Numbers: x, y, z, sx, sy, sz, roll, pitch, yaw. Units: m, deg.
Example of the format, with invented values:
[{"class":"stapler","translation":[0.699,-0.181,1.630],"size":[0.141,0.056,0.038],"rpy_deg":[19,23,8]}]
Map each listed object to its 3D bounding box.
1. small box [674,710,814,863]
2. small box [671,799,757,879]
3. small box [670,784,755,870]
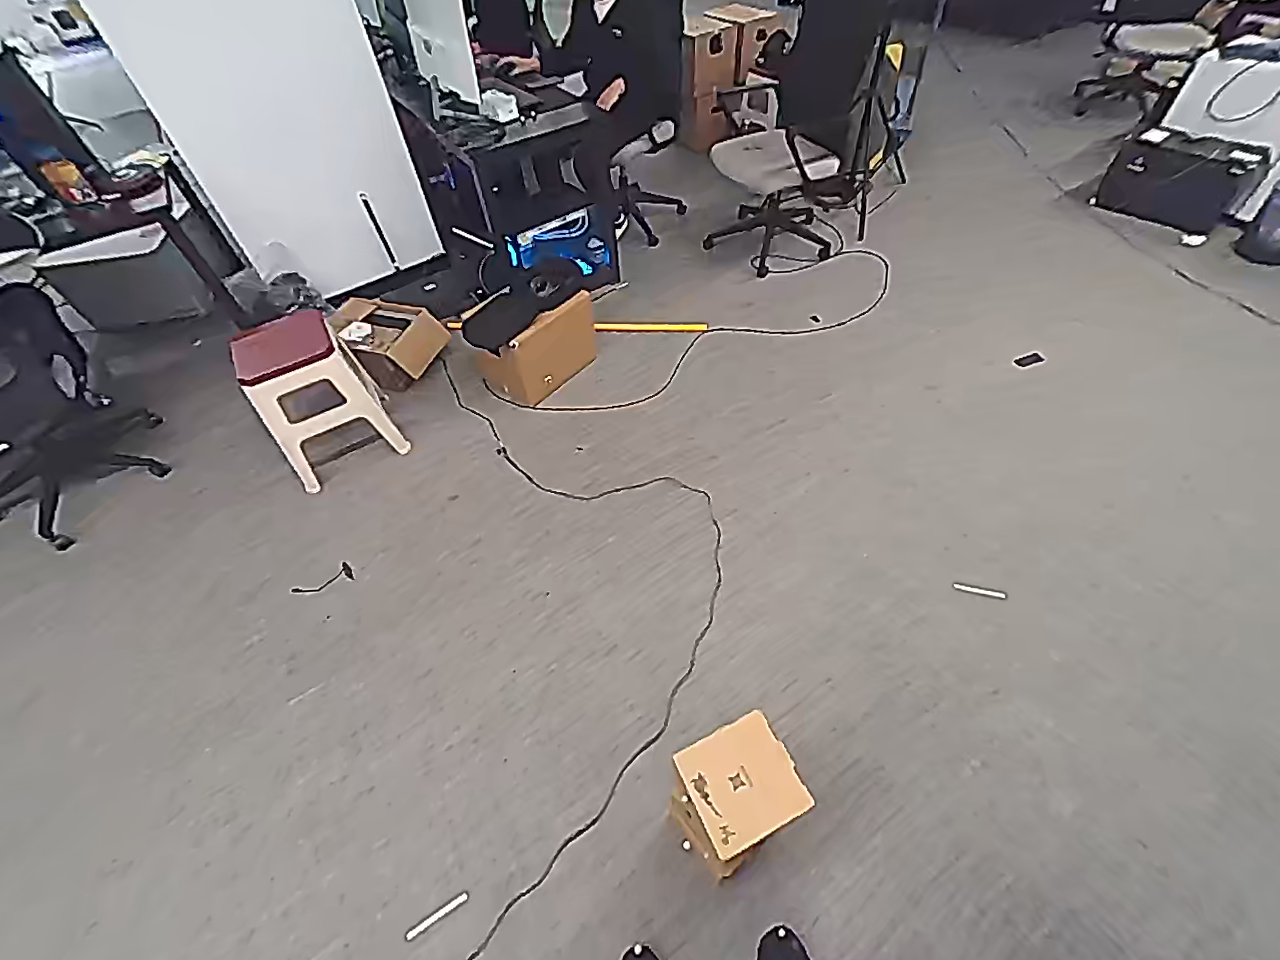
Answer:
[{"class":"small box","translation":[0.169,0.539,0.949],"size":[0.179,0.176,0.168],"rpy_deg":[-22,54,-14]},{"class":"small box","translation":[0.184,0.745,1.202],"size":[0.179,0.176,0.168],"rpy_deg":[-33,56,-19]},{"class":"small box","translation":[0.177,0.640,1.078],"size":[0.179,0.176,0.168],"rpy_deg":[-34,58,-23]}]
